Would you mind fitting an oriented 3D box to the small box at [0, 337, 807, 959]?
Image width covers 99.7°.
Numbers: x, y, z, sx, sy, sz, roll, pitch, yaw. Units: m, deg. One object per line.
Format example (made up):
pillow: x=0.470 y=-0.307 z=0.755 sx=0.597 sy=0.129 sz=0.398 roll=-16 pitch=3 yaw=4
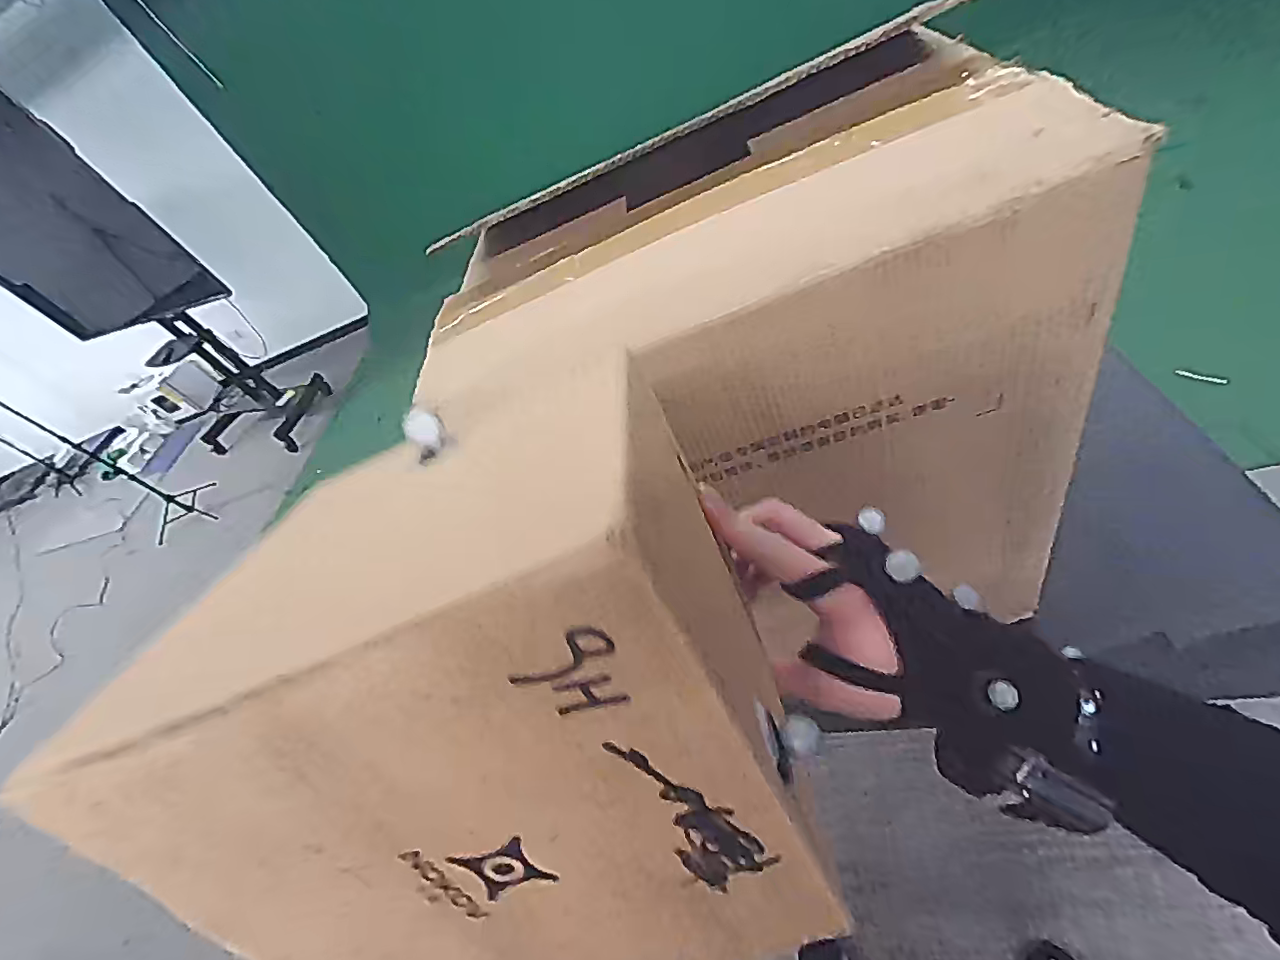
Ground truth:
small box: x=-0.058 y=0.064 z=0.223 sx=0.179 sy=0.168 sz=0.176 roll=-23 pitch=27 yaw=10
